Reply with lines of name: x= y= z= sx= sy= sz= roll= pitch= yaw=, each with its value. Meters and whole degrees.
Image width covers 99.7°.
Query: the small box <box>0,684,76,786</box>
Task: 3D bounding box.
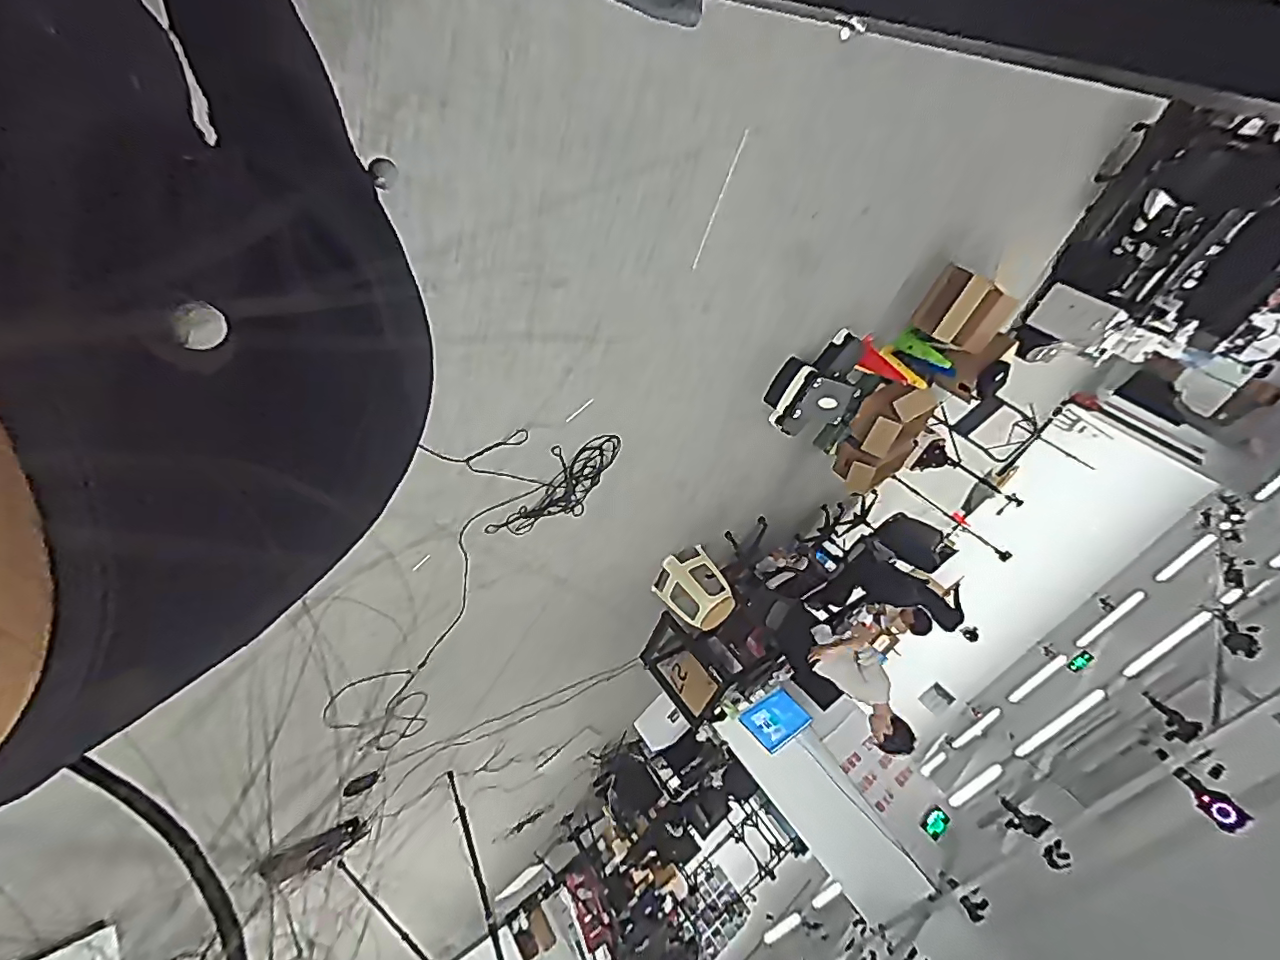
small box: x=-1.683 y=0.685 z=1.470 sx=0.168 sy=0.176 sz=0.179 roll=-17 pitch=139 yaw=-36
